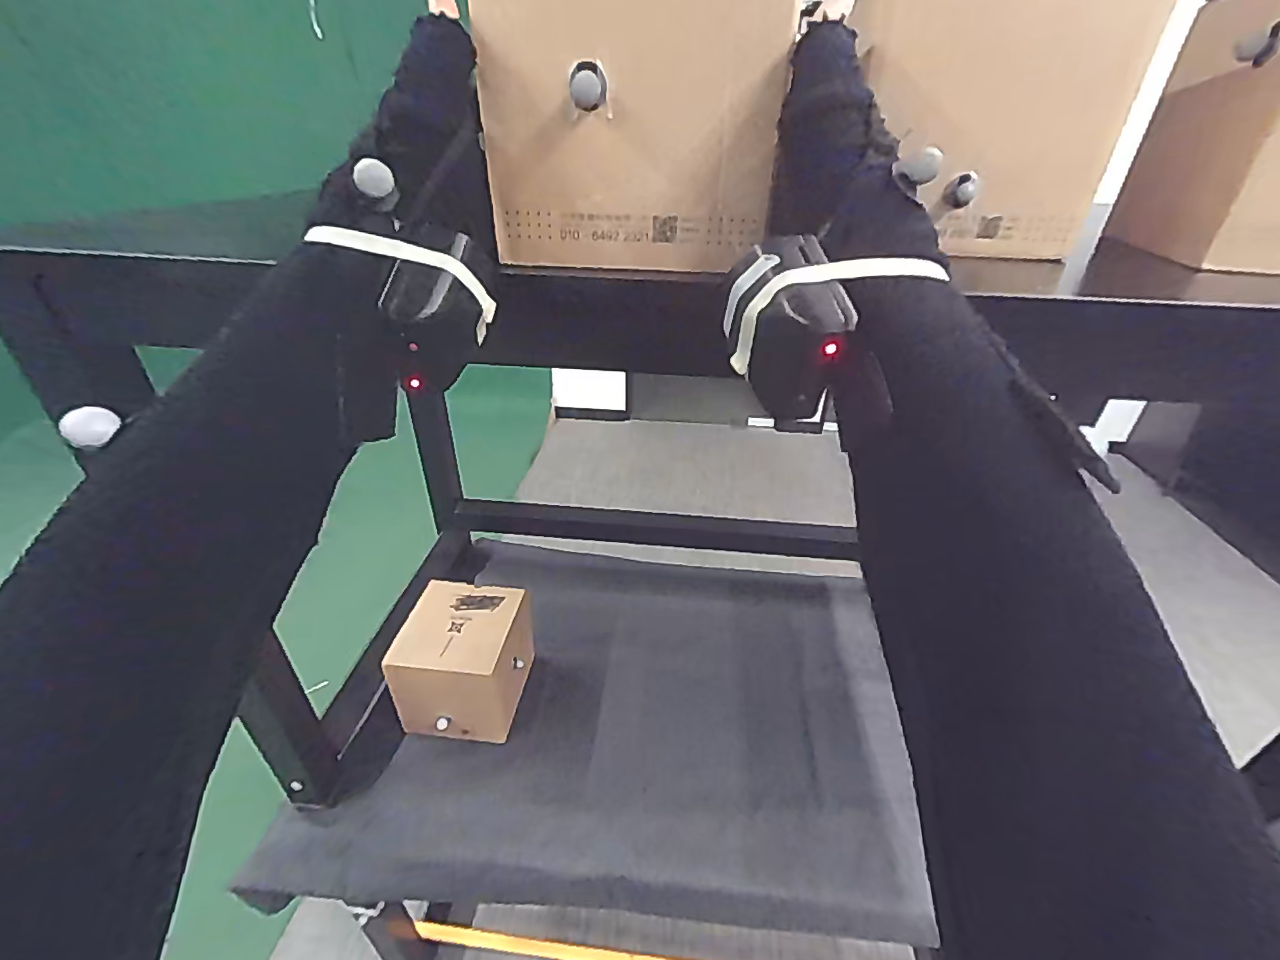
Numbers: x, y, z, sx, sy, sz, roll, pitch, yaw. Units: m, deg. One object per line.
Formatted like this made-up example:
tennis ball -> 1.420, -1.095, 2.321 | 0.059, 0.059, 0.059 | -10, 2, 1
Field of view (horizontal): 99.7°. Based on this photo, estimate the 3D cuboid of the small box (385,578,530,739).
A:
small box -> -0.283, 0.287, 0.885 | 0.168, 0.176, 0.179 | 4, 33, 4

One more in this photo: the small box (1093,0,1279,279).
small box -> 0.479, -0.241, 0.385 | 0.168, 0.176, 0.179 | 11, 33, 14

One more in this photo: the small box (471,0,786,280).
small box -> 0.001, -0.241, 0.371 | 0.168, 0.176, 0.179 | 3, 32, 3
